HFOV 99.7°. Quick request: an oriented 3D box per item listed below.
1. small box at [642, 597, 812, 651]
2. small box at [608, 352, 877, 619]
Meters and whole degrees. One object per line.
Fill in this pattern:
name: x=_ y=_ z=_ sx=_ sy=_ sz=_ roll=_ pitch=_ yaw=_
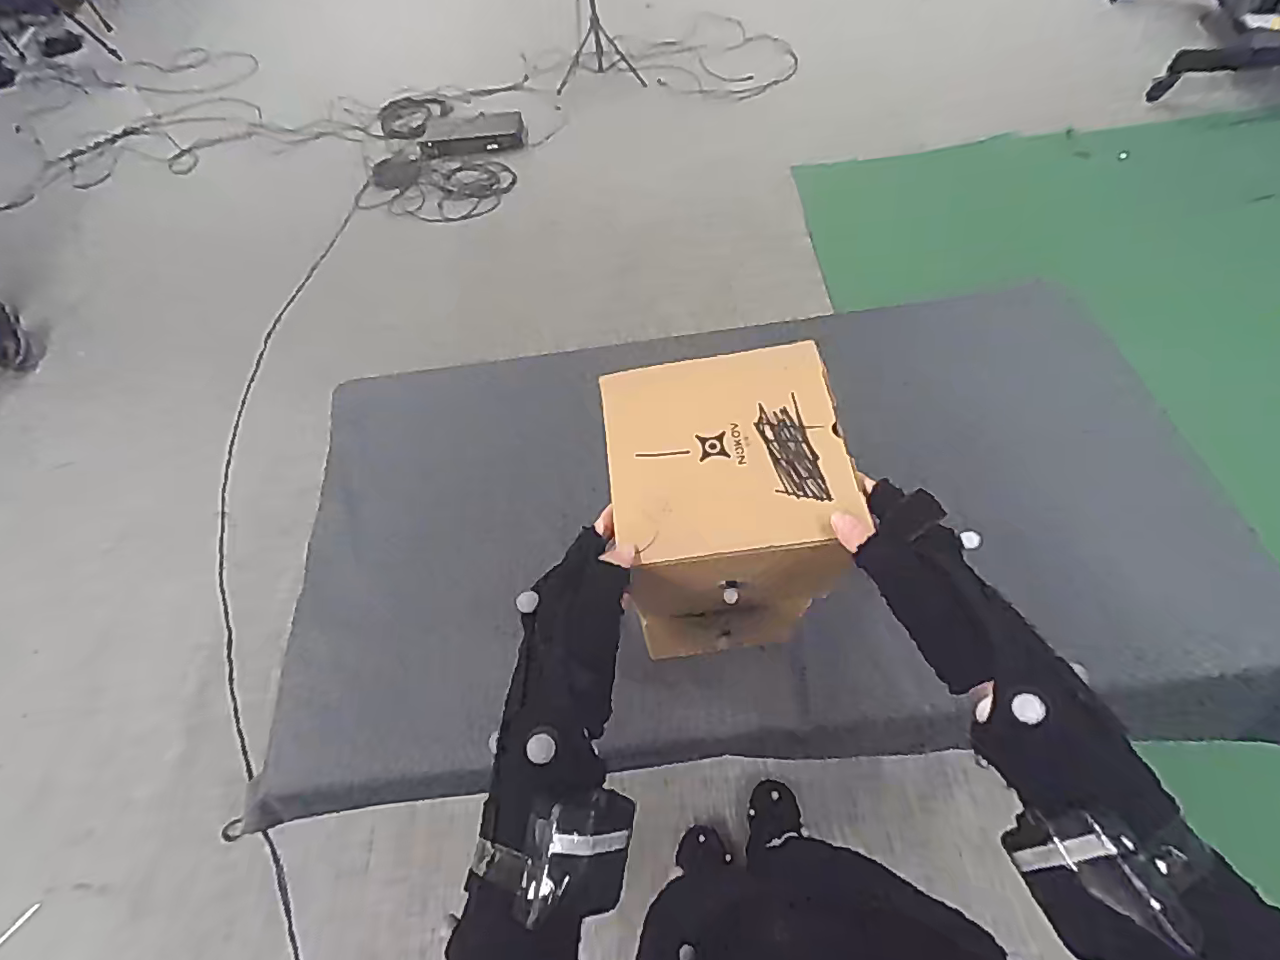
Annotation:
small box: x=0.083 y=0.090 z=0.622 sx=0.168 sy=0.176 sz=0.179 roll=-9 pitch=61 yaw=1
small box: x=0.075 y=0.016 z=0.472 sx=0.179 sy=0.176 sz=0.168 roll=-9 pitch=63 yaw=4
